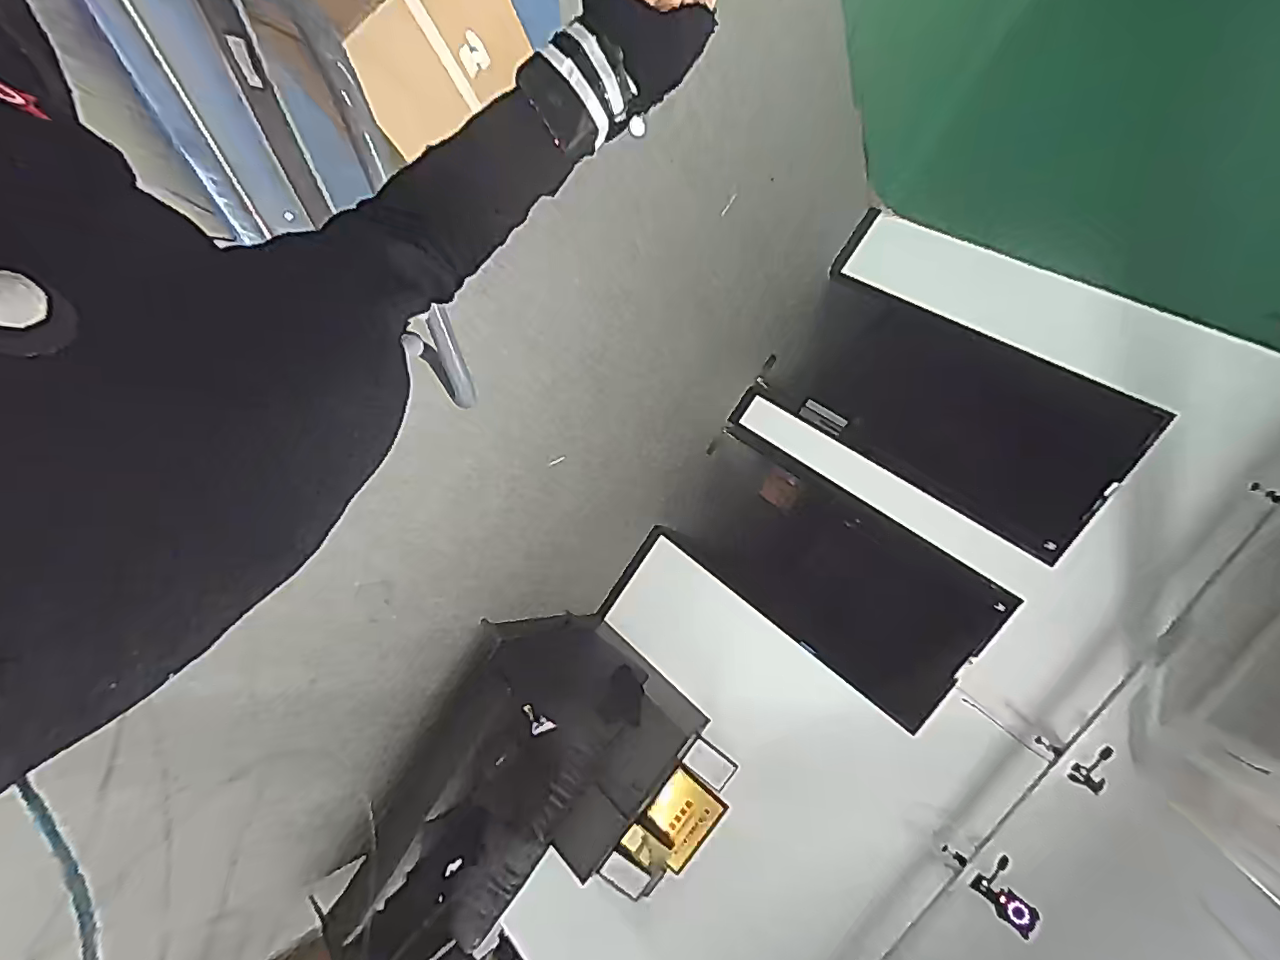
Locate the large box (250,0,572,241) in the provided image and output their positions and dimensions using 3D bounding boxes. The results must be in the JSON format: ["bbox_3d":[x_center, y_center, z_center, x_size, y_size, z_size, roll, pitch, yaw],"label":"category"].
[{"bbox_3d":[-0.404,-0.756,1.029,0.320,0.320,0.408,-50,154,-4],"label":"large box"}]
